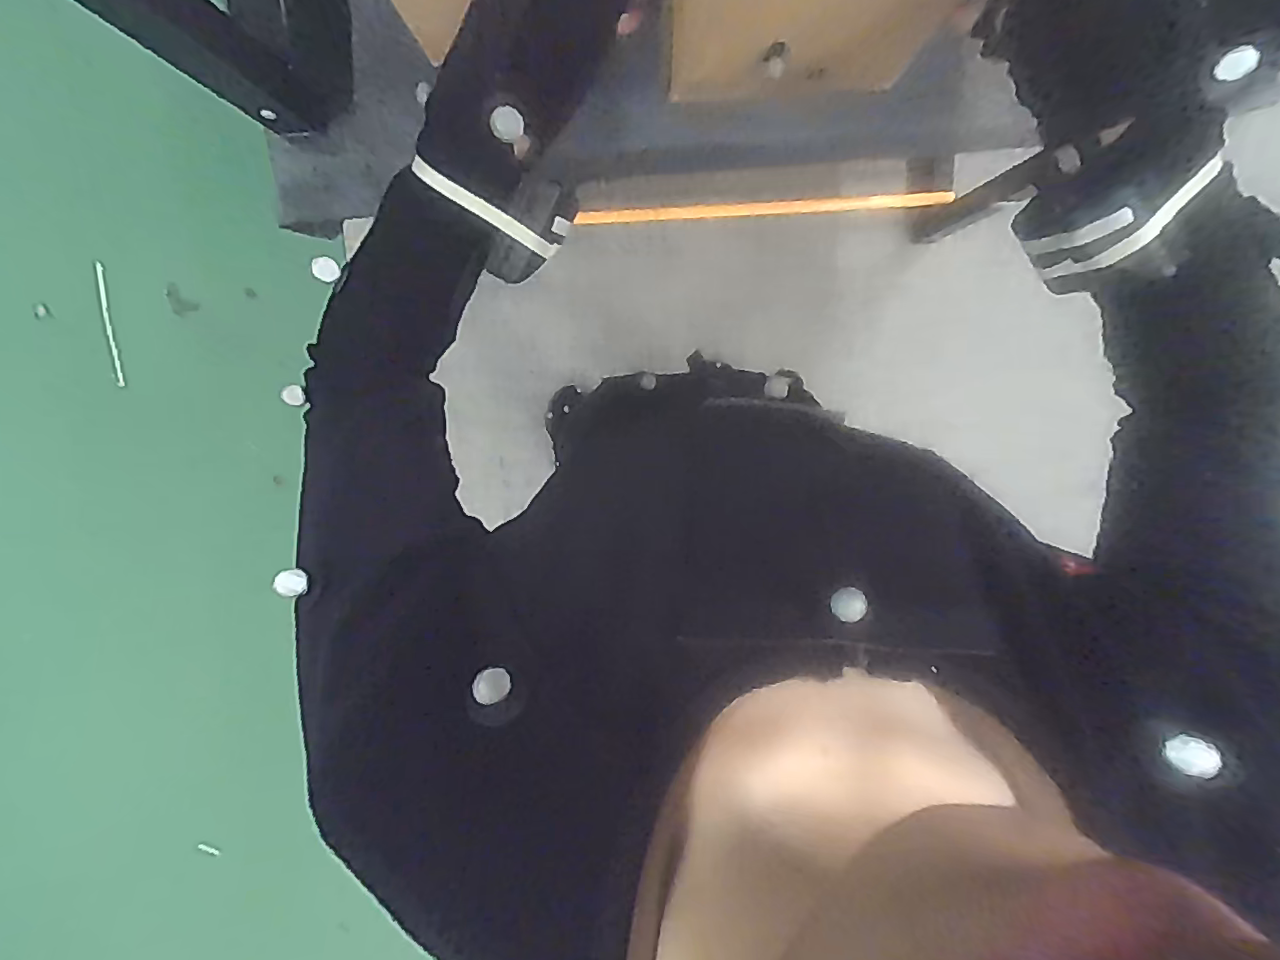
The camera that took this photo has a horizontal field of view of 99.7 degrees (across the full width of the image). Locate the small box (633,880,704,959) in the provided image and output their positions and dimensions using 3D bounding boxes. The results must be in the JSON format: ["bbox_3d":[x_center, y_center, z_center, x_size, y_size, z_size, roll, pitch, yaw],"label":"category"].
[{"bbox_3d":[0.083,1.360,1.634,0.179,0.176,0.168,12,99,0],"label":"small box"}]
